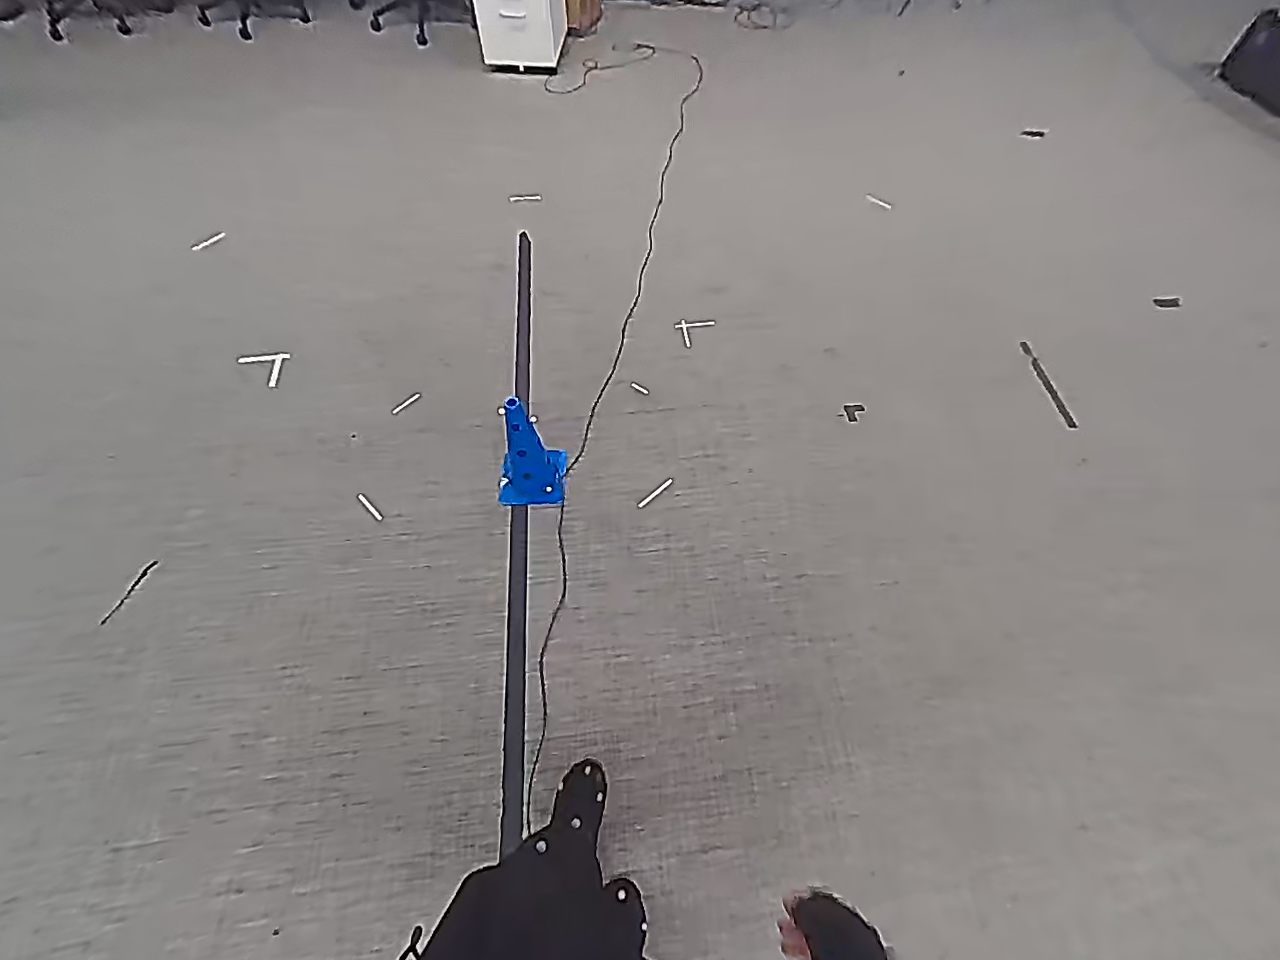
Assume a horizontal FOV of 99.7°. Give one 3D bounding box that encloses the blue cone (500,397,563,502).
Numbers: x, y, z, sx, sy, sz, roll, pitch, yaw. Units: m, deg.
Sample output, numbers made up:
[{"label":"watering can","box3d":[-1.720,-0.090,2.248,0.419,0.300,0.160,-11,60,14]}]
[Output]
[{"label":"blue cone","box3d":[-0.326,-0.105,1.520,0.193,0.380,0.192,-2,58,-3]}]
